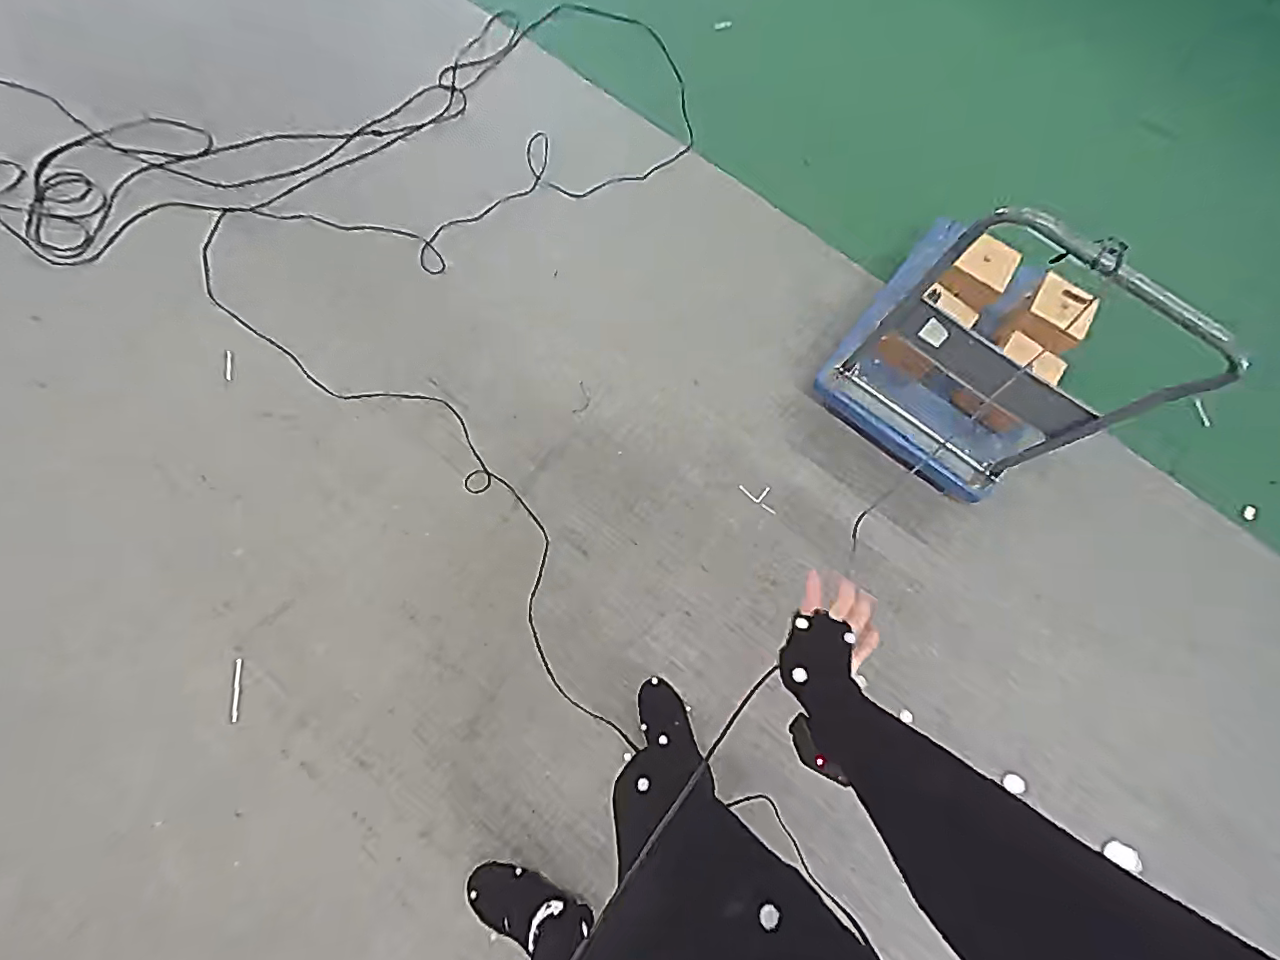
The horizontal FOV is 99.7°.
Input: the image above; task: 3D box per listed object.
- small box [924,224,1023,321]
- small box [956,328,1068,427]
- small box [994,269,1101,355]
[{"bbox_3d":[0.995,-0.618,1.631,0.168,0.176,0.179,35,71,5],"label":"small box"},{"bbox_3d":[1.035,-0.283,1.519,0.168,0.176,0.179,39,72,7],"label":"small box"},{"bbox_3d":[1.202,-0.477,1.605,0.168,0.176,0.179,35,72,7],"label":"small box"}]
